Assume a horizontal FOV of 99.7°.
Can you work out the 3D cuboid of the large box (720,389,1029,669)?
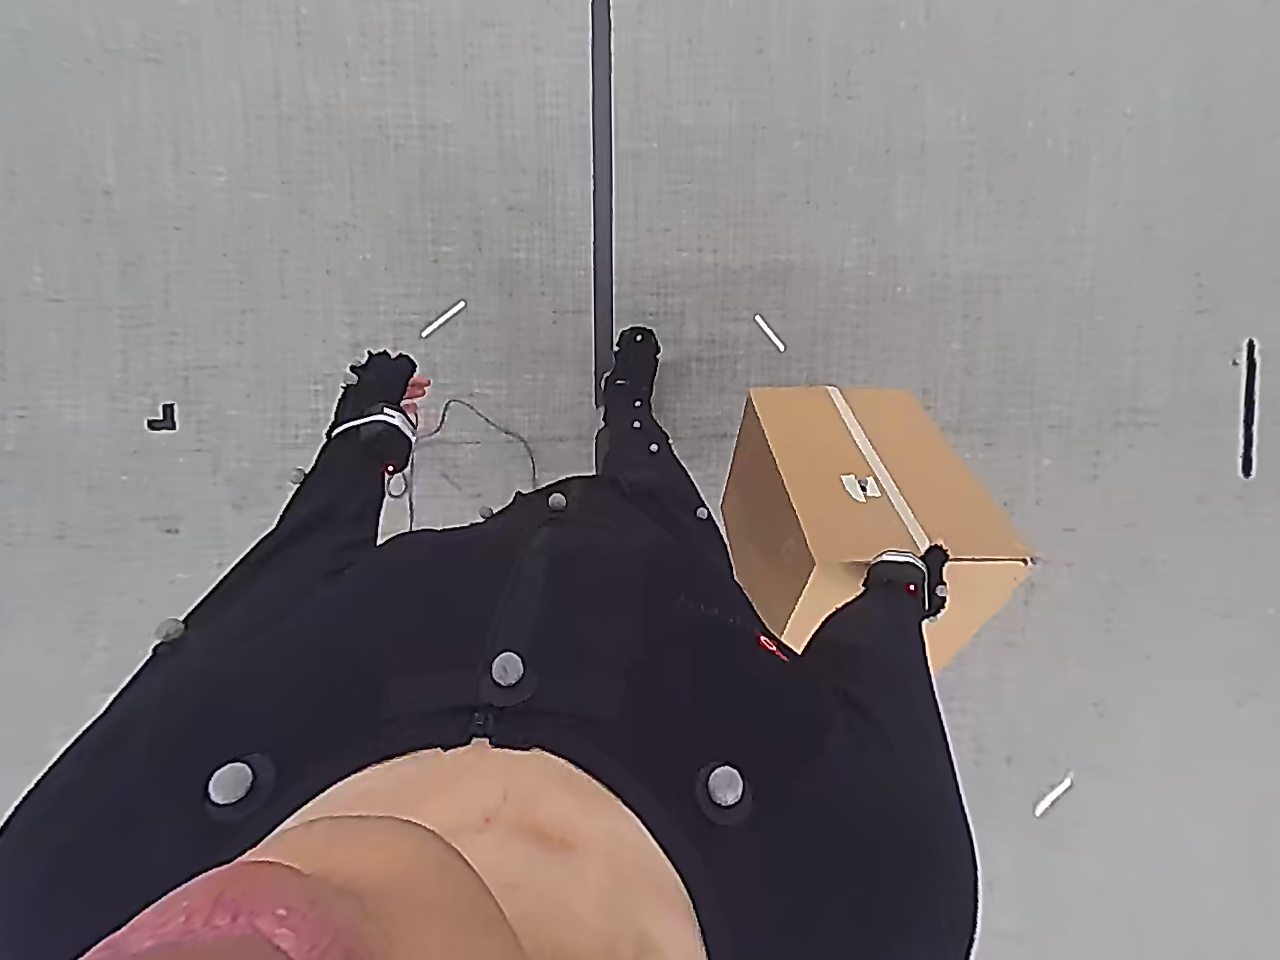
[{"bbox_3d":[0.357,0.078,0.972,0.320,0.408,0.320,0,133,-6],"label":"large box"}]
